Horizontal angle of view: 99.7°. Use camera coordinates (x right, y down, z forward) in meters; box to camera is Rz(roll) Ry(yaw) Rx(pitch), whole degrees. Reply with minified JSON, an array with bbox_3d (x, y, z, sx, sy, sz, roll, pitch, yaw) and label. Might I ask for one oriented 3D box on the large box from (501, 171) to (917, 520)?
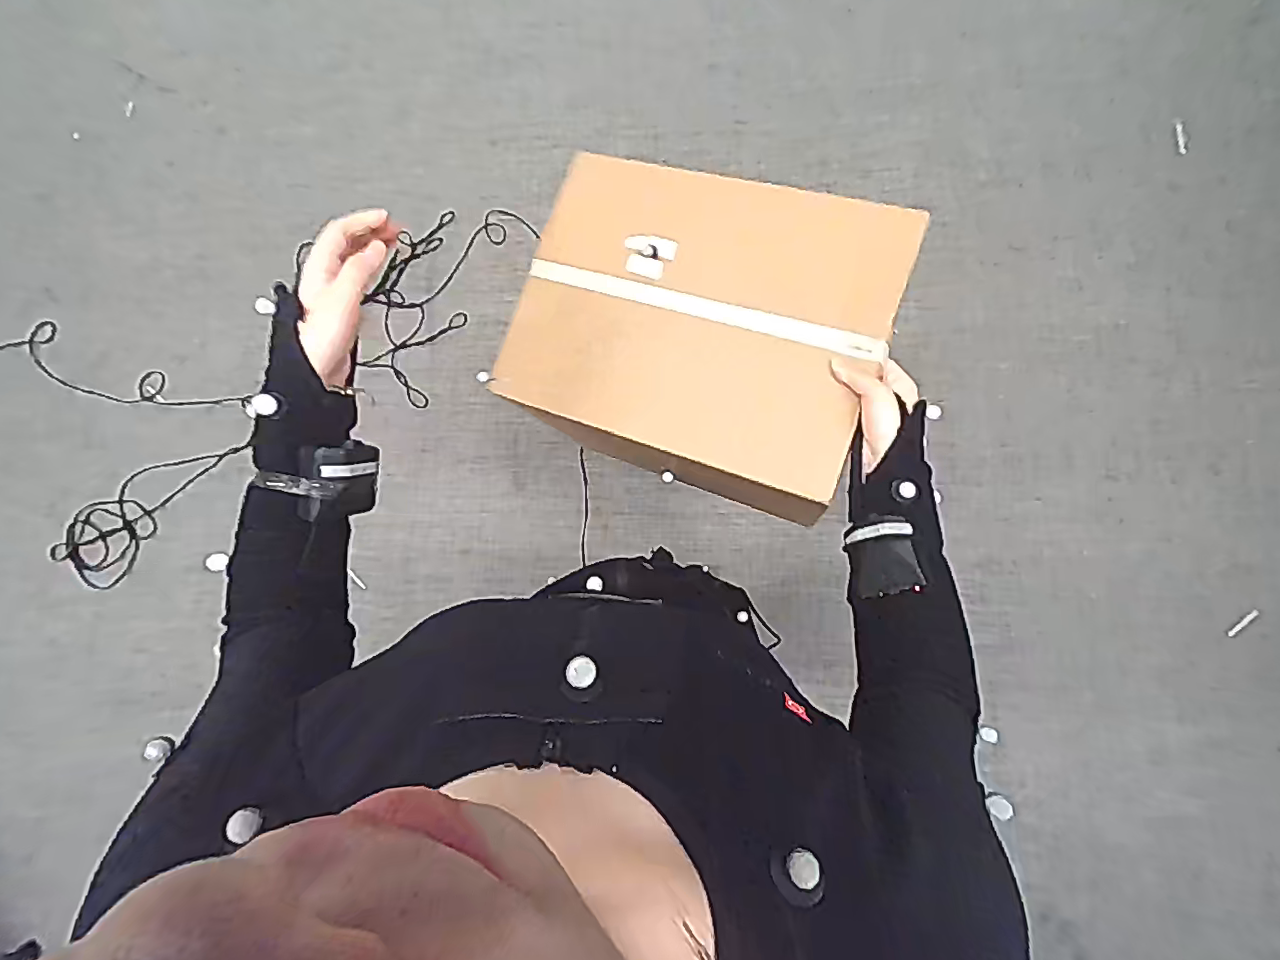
[{"bbox_3d":[0.101,-0.160,0.747,0.408,0.320,0.320,21,86,19],"label":"large box"}]
